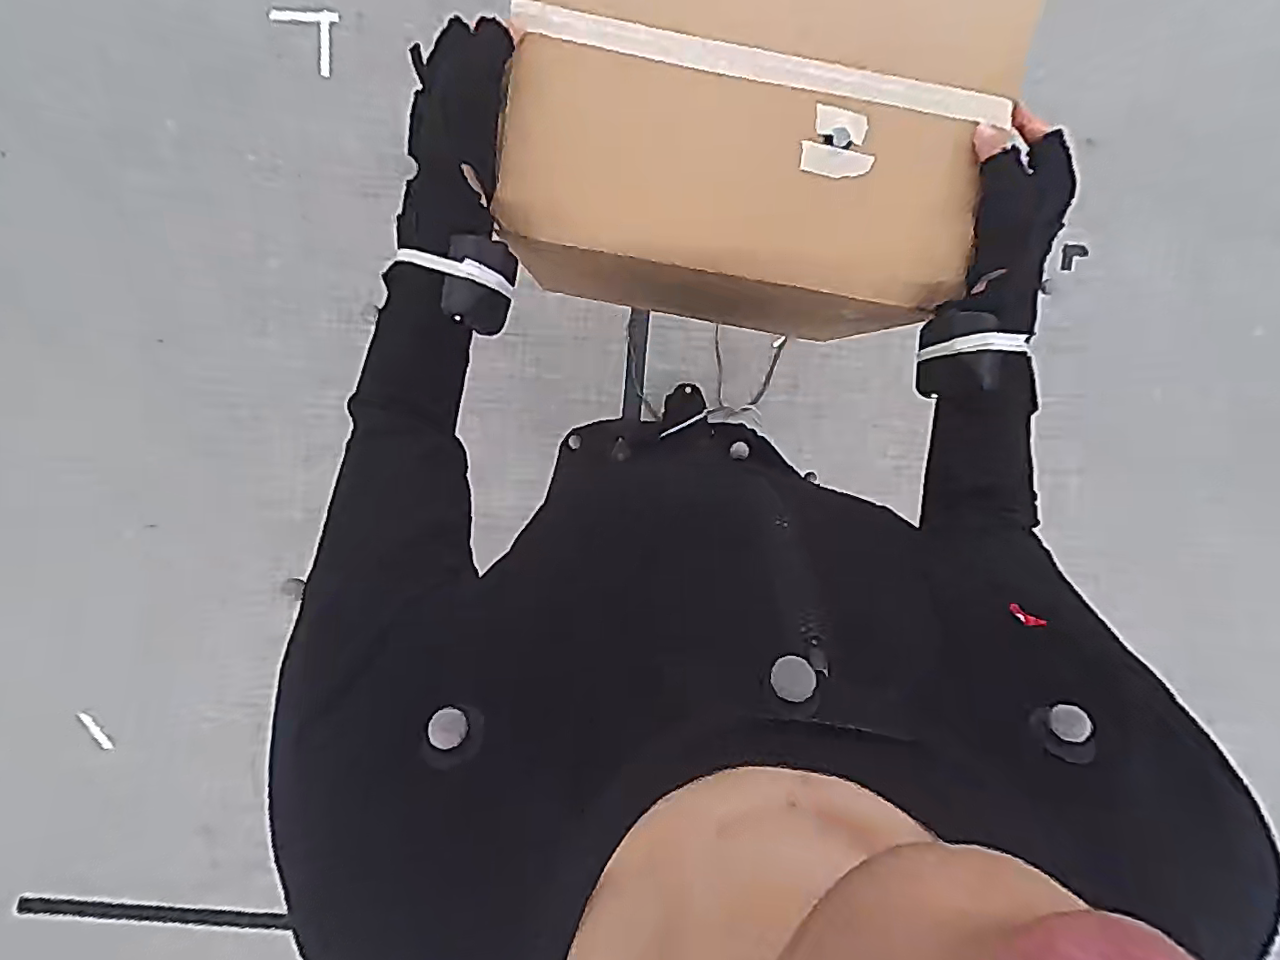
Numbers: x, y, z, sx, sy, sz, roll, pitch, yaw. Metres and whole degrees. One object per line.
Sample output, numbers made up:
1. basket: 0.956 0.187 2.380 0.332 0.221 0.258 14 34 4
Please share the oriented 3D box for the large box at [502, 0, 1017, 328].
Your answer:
1. large box: 0.091 -0.363 0.589 0.408 0.320 0.320 9 101 -4
